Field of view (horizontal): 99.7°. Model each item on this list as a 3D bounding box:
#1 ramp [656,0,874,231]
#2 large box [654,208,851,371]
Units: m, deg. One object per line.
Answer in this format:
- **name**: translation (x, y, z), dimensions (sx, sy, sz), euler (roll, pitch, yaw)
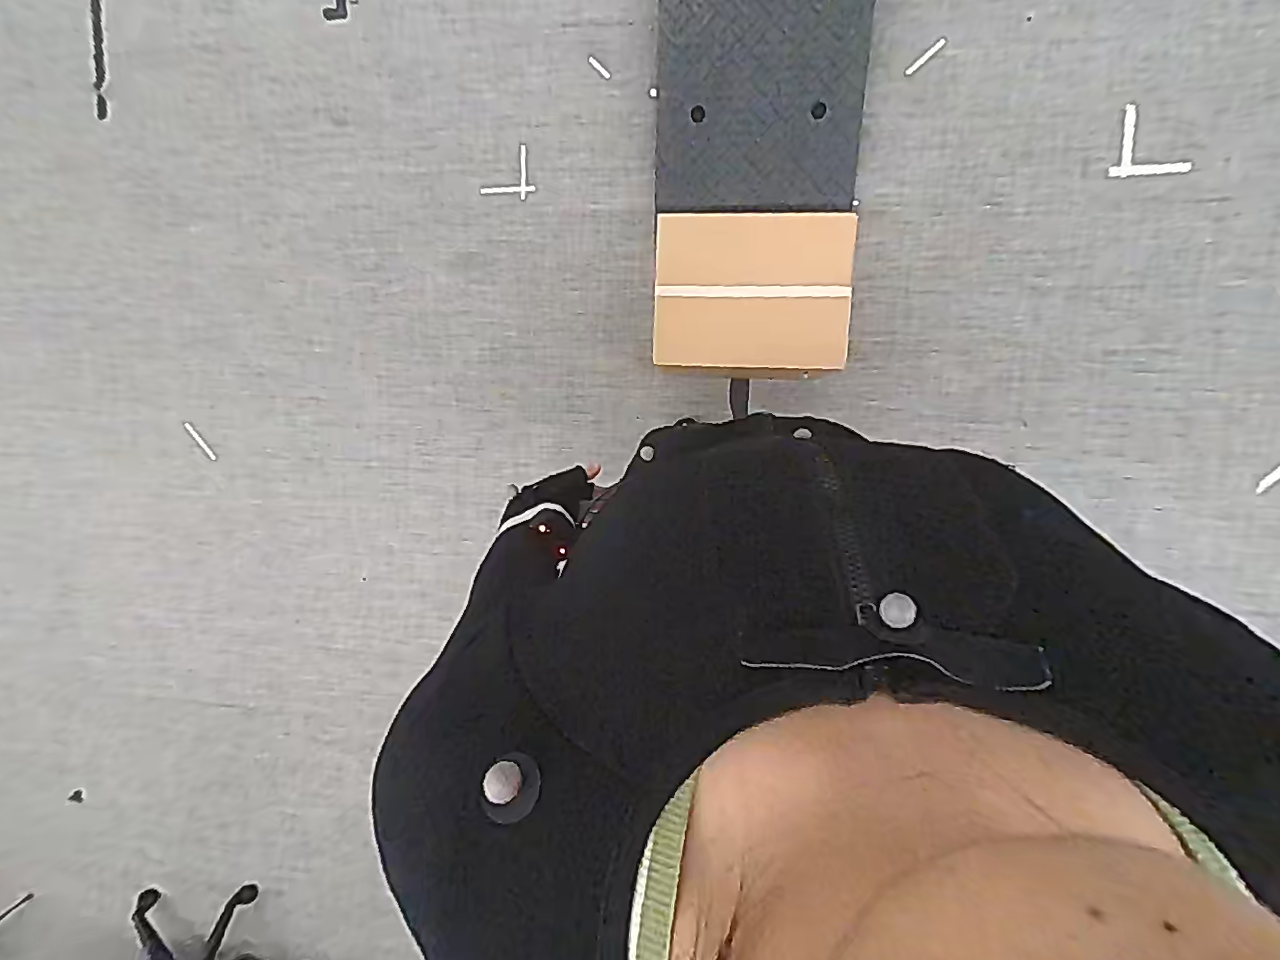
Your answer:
- **ramp**: translation (0.288, -1.102, 1.240), dimensions (0.509, 0.206, 0.991), euler (1, 98, 6)
- **large box**: translation (0.249, -0.424, 1.280), dimensions (0.408, 0.320, 0.320), euler (3, 97, 7)
